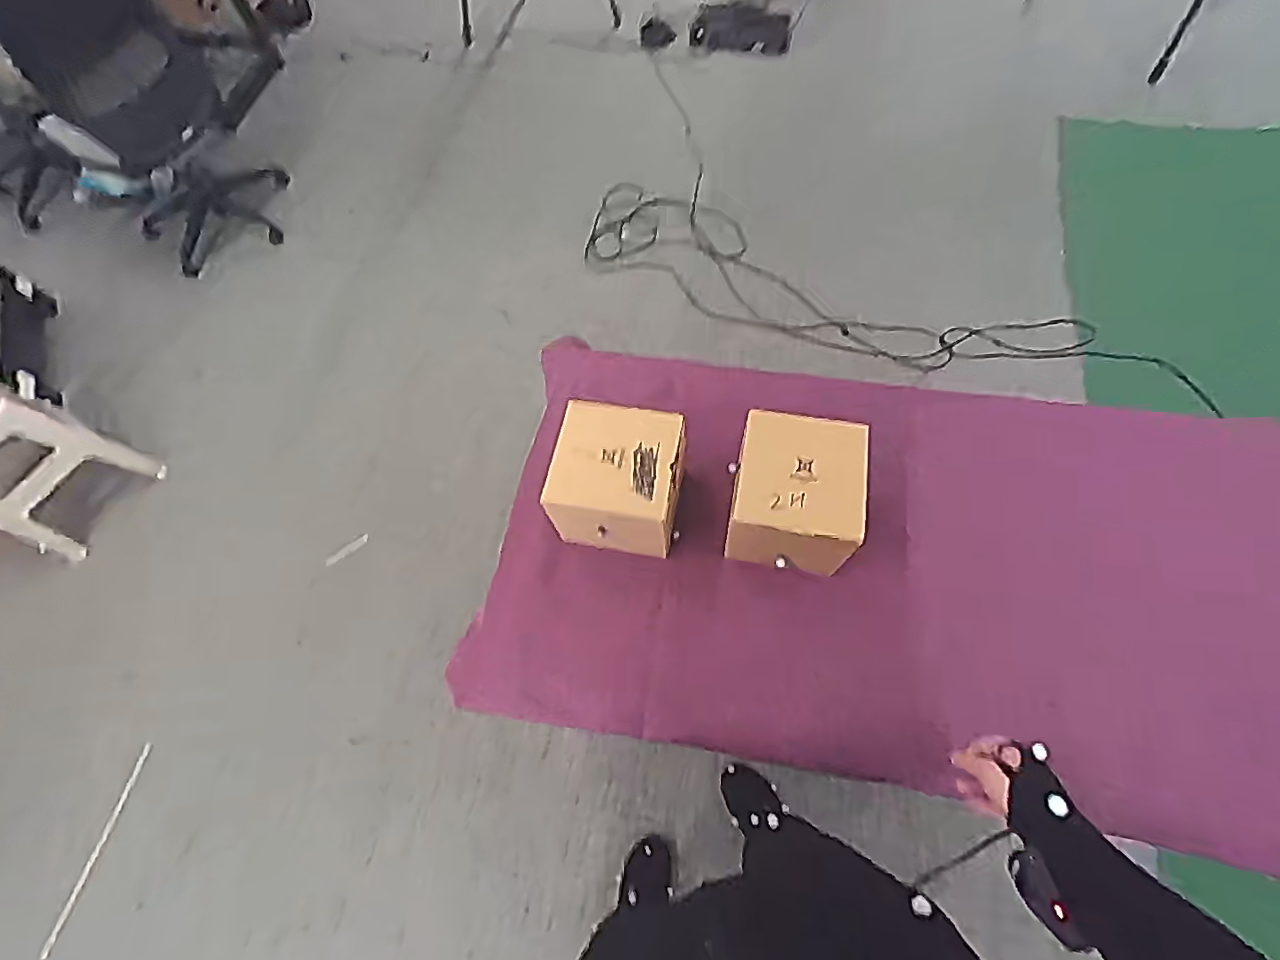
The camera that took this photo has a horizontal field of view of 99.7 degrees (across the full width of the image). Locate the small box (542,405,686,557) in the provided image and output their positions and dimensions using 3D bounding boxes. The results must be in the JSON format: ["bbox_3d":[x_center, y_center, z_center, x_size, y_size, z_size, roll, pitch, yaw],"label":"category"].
[{"bbox_3d":[-0.028,0.009,0.823,0.179,0.176,0.168,8,66,9],"label":"small box"}]

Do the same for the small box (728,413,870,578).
[{"bbox_3d":[0.226,0.027,0.795,0.168,0.176,0.179,9,67,9],"label":"small box"}]
